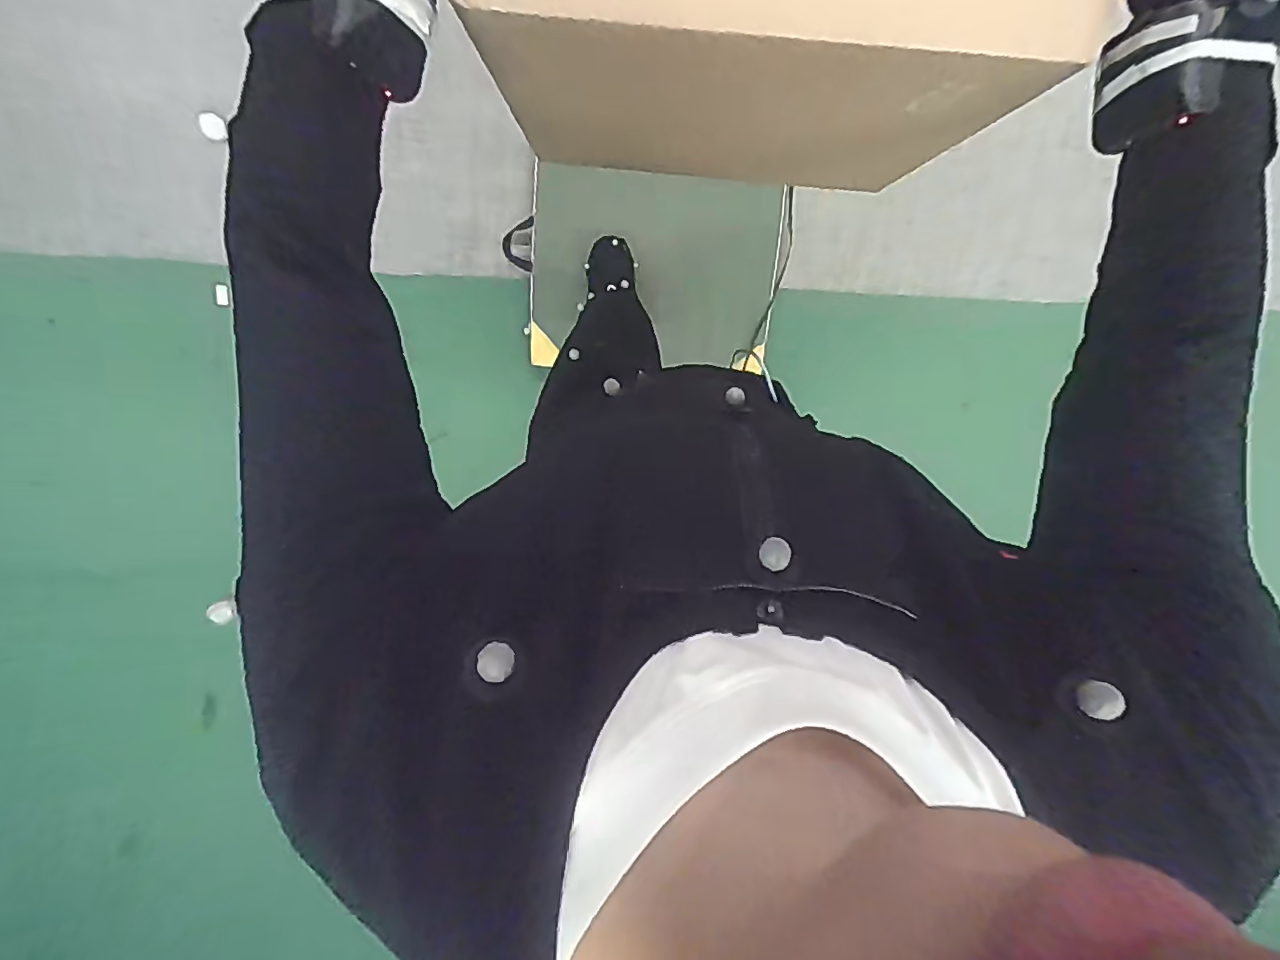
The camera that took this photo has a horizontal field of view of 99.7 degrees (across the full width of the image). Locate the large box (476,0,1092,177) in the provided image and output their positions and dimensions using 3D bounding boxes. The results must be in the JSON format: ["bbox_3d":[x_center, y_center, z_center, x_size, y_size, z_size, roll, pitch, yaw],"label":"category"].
[{"bbox_3d":[0.093,-0.473,0.450,0.408,0.320,0.320,3,106,-3],"label":"large box"}]
